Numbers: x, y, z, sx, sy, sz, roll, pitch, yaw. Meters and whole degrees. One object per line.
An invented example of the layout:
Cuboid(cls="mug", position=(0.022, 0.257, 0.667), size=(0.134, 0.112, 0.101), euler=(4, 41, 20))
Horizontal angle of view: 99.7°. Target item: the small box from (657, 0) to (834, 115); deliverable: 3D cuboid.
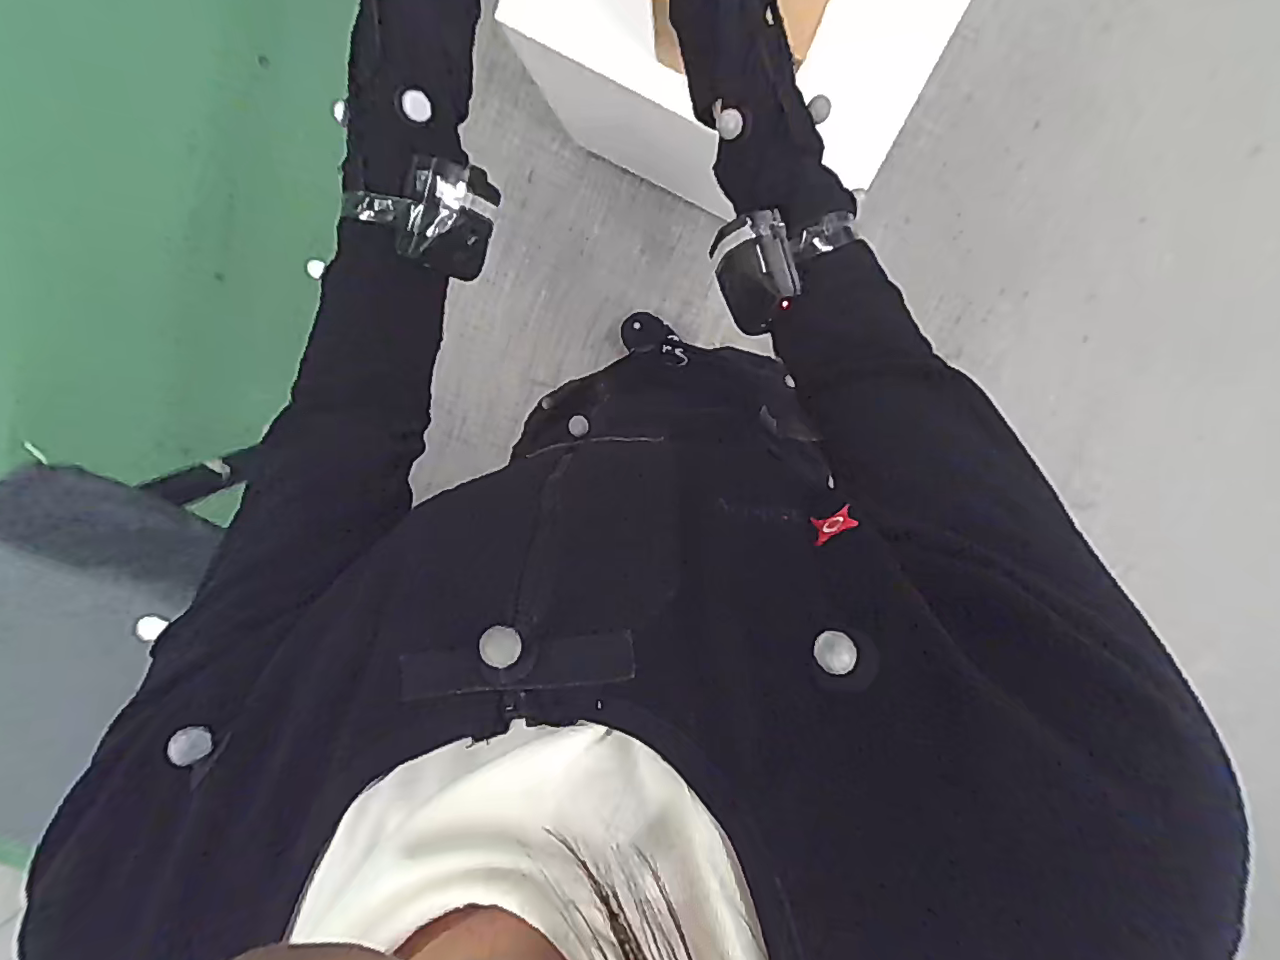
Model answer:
Cuboid(cls="small box", position=(0.122, -0.526, 0.561), size=(0.168, 0.176, 0.179), euler=(23, 110, -2))
